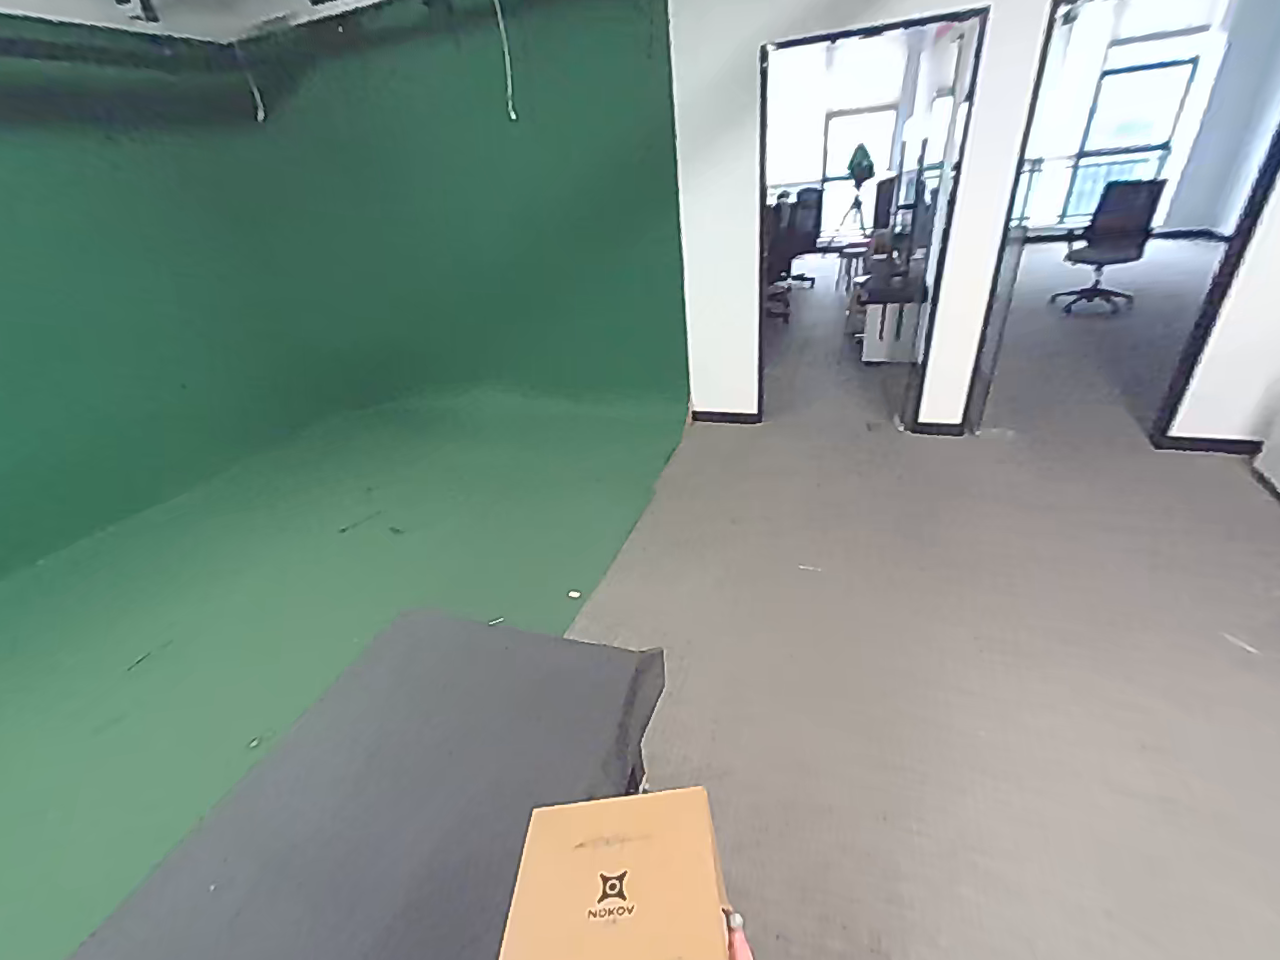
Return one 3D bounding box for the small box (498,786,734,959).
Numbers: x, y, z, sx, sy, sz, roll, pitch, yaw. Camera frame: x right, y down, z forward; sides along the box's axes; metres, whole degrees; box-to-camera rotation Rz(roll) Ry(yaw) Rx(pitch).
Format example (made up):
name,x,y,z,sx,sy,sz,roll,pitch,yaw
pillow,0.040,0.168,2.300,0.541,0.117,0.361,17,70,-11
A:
name,x,y,z,sx,sy,sz,roll,pitch,yaw
small box,-0.007,0.397,0.446,0.168,0.176,0.179,-9,16,3
